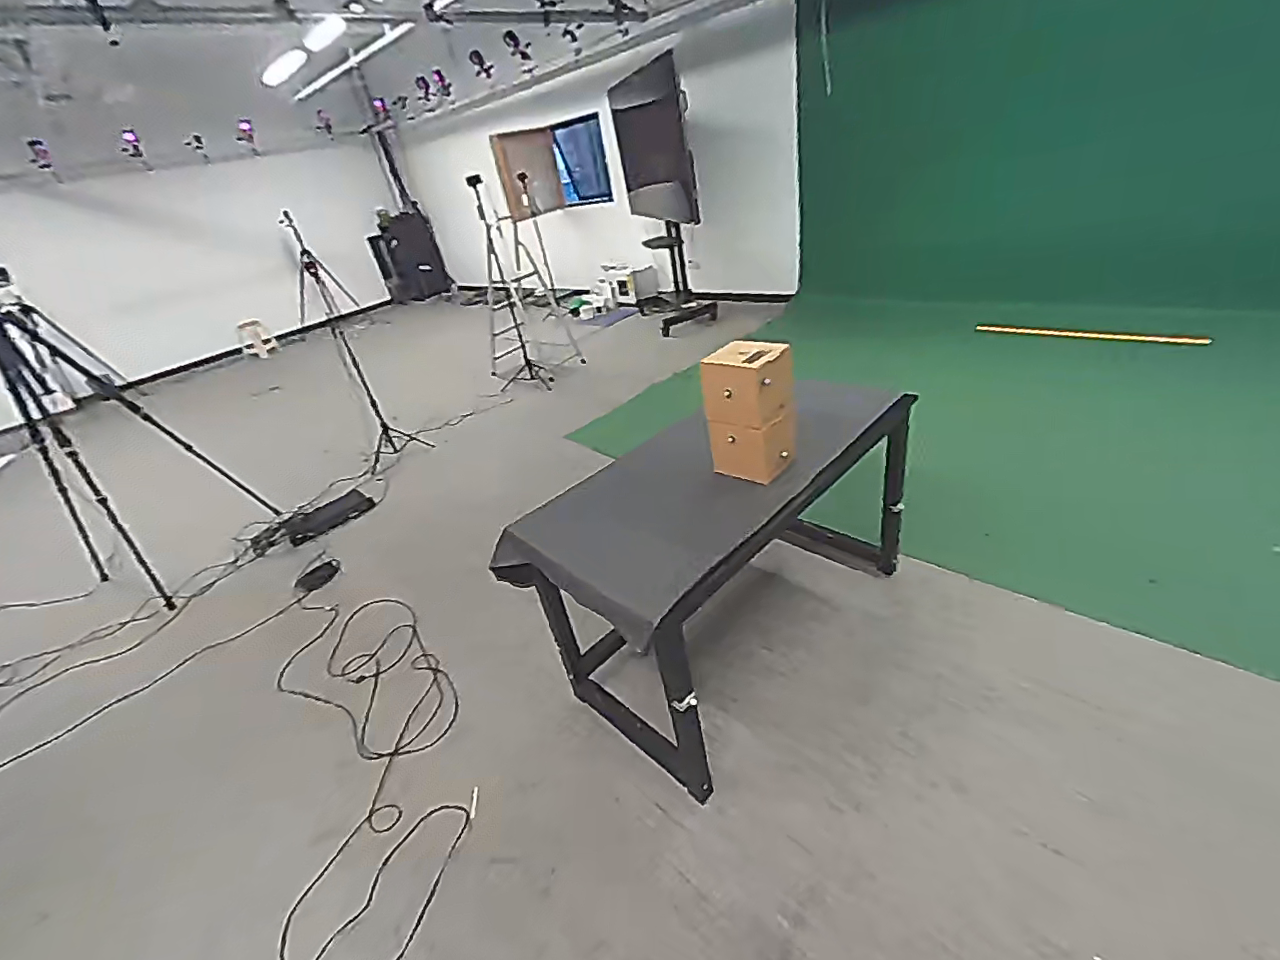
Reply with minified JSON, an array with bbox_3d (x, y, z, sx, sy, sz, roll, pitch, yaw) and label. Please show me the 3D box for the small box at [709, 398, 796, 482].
[{"bbox_3d":[0.315,-0.111,1.501,0.179,0.176,0.168,16,41,40],"label":"small box"}]
